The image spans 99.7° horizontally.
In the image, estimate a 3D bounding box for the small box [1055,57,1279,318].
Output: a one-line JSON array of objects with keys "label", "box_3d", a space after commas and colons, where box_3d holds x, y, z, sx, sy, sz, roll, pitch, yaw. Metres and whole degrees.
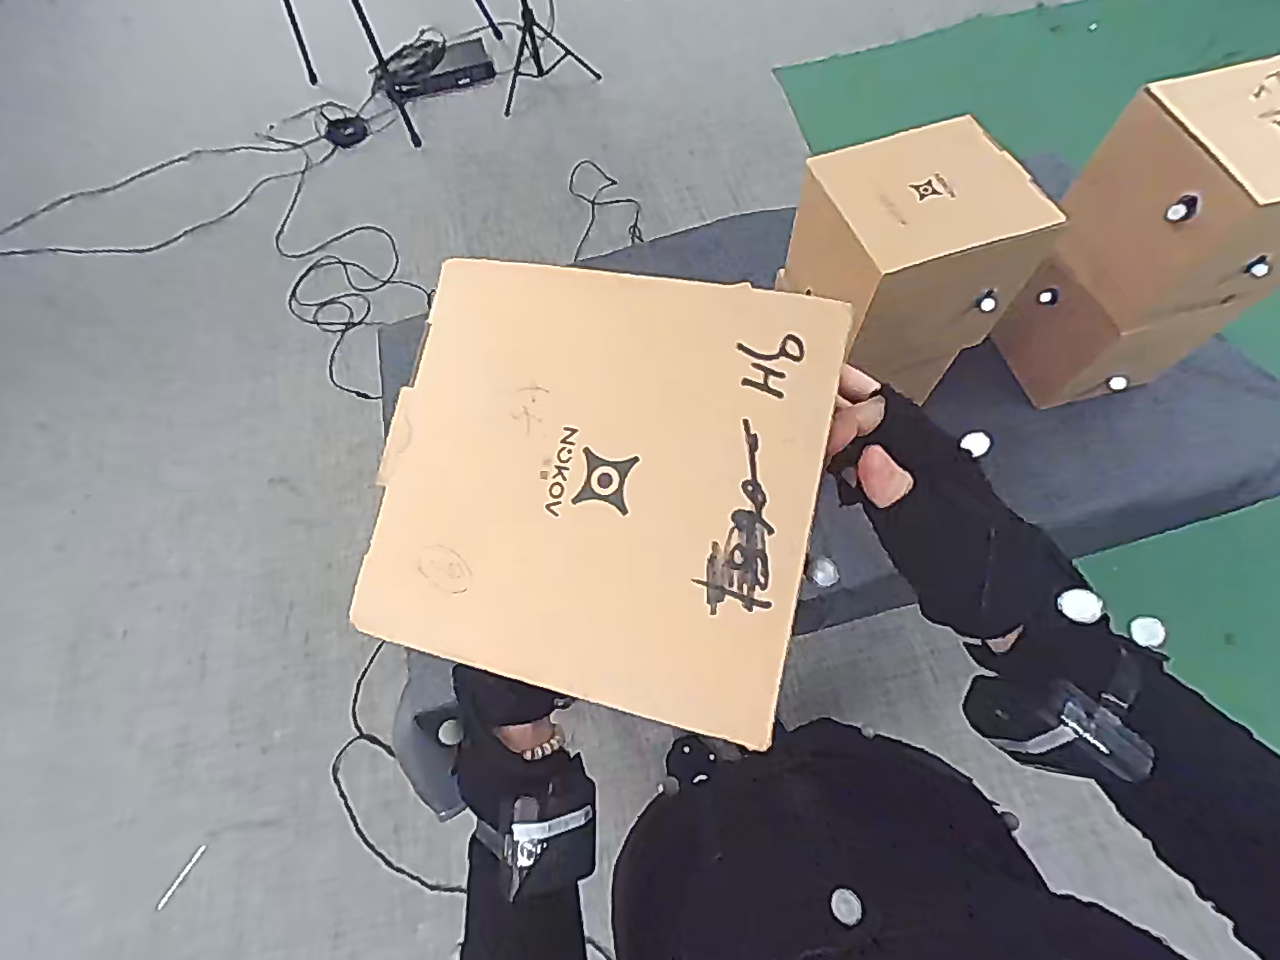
[{"label": "small box", "box_3d": [0.593, -0.293, 0.569, 0.168, 0.176, 0.179, -12, 65, 0]}]

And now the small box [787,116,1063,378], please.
[{"label": "small box", "box_3d": [0.277, -0.237, 0.577, 0.179, 0.176, 0.168, -16, 64, -2]}]

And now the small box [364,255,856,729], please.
[{"label": "small box", "box_3d": [-0.002, 0.004, 0.295, 0.179, 0.176, 0.168, 12, 86, 14]}]
